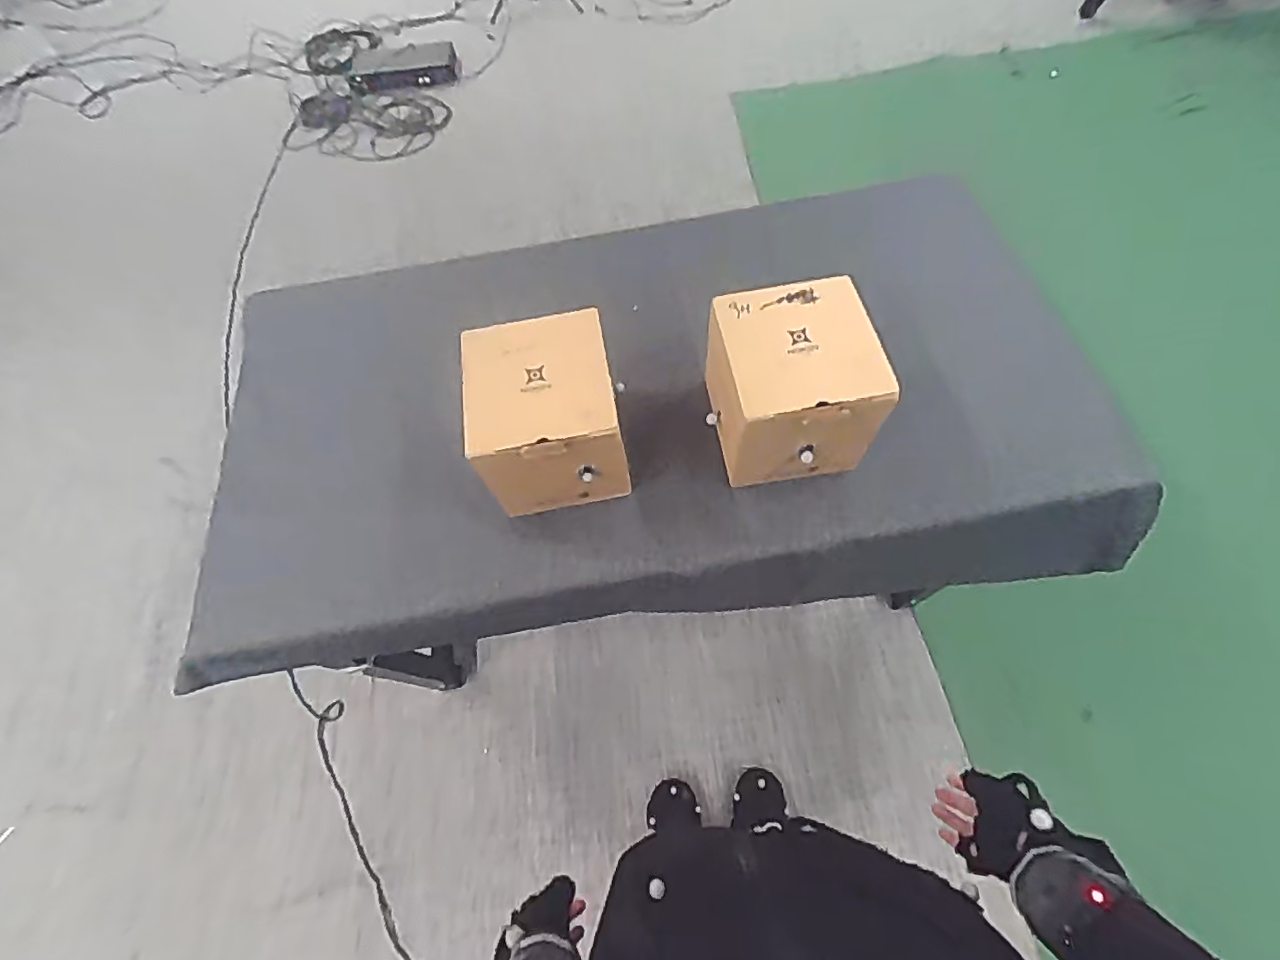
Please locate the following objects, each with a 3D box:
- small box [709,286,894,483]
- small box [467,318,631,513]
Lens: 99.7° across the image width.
[{"bbox_3d":[0.184,-0.107,0.678,0.168,0.176,0.179,-9,64,0],"label":"small box"},{"bbox_3d":[-0.108,-0.070,0.683,0.168,0.176,0.179,-11,62,-3],"label":"small box"}]
